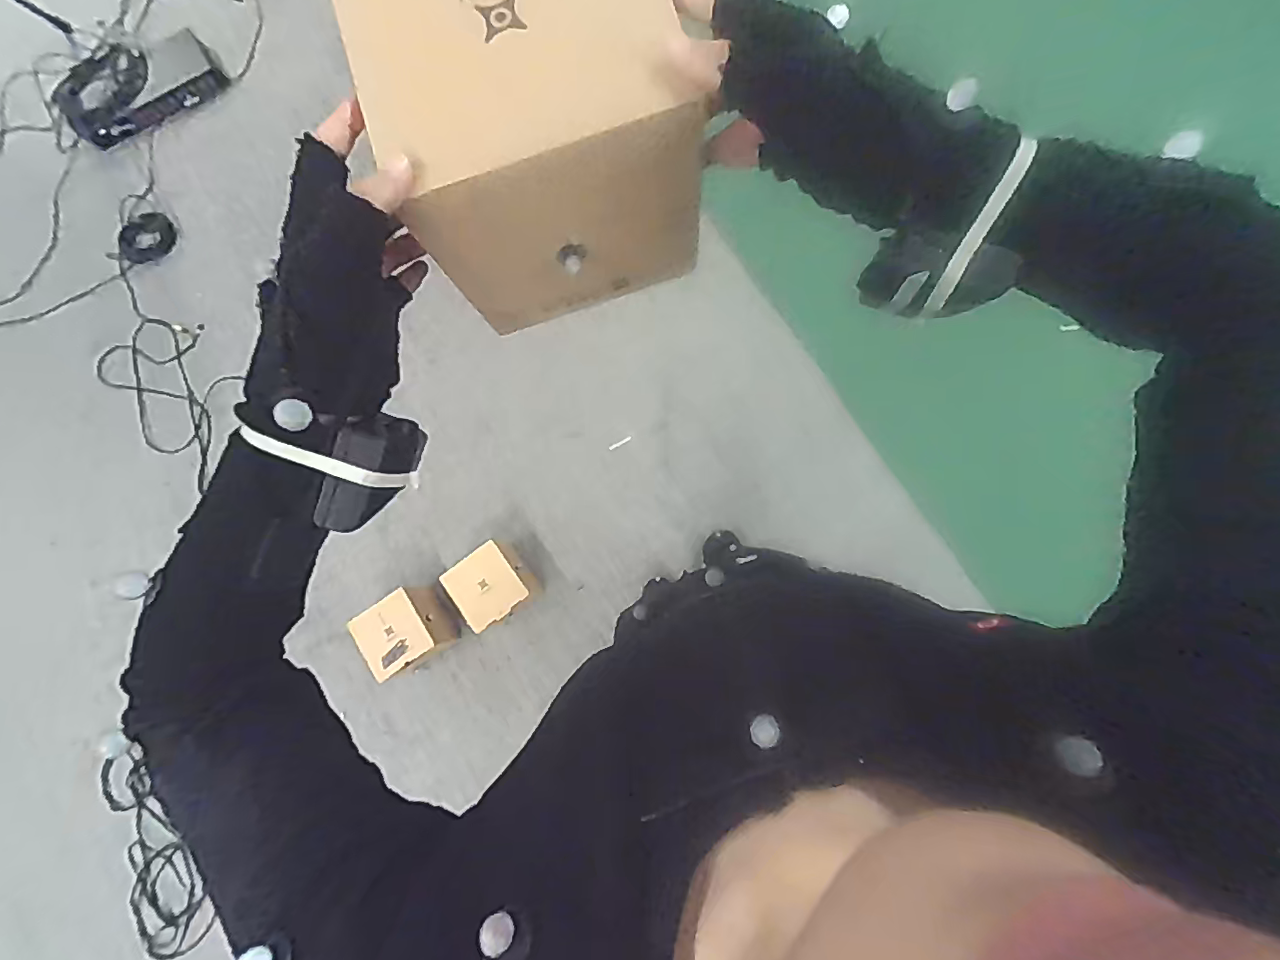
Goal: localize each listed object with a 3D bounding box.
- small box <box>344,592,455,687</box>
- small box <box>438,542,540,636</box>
[{"bbox_3d":[-0.613,0.402,1.400,0.168,0.176,0.179,-34,79,-4],"label":"small box"},{"bbox_3d":[-0.387,0.283,1.415,0.168,0.176,0.179,-37,82,-5],"label":"small box"}]
